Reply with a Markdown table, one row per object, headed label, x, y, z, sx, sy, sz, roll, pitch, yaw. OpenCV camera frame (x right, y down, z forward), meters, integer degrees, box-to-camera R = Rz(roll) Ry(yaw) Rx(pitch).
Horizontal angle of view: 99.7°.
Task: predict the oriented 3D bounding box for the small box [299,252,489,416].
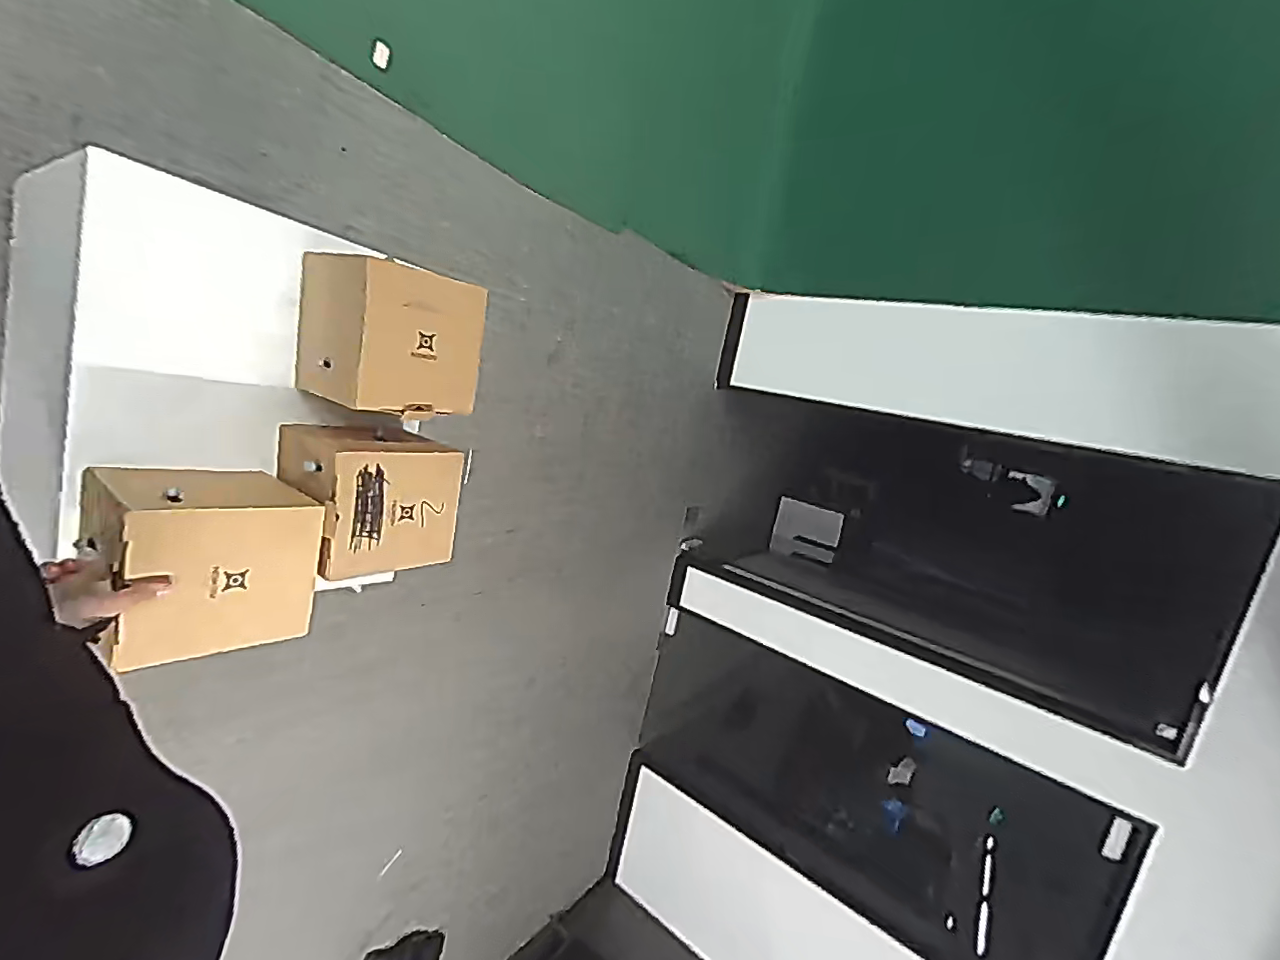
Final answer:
| label | x | y | z | sx | sy | sz | roll | pitch | yaw |
| --- | --- | --- | --- | --- | --- | --- | --- | --- | --- |
| small box | -0.329 | -0.190 | 0.720 | 0.168 | 0.176 | 0.179 | -6 | 110 | -54 |

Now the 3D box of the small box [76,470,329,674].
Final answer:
| label | x | y | z | sx | sy | sz | roll | pitch | yaw |
| --- | --- | --- | --- | --- | --- | --- | --- | --- | --- |
| small box | -0.493 | 0.087 | 0.615 | 0.179 | 0.176 | 0.168 | 1 | 103 | -55 |
